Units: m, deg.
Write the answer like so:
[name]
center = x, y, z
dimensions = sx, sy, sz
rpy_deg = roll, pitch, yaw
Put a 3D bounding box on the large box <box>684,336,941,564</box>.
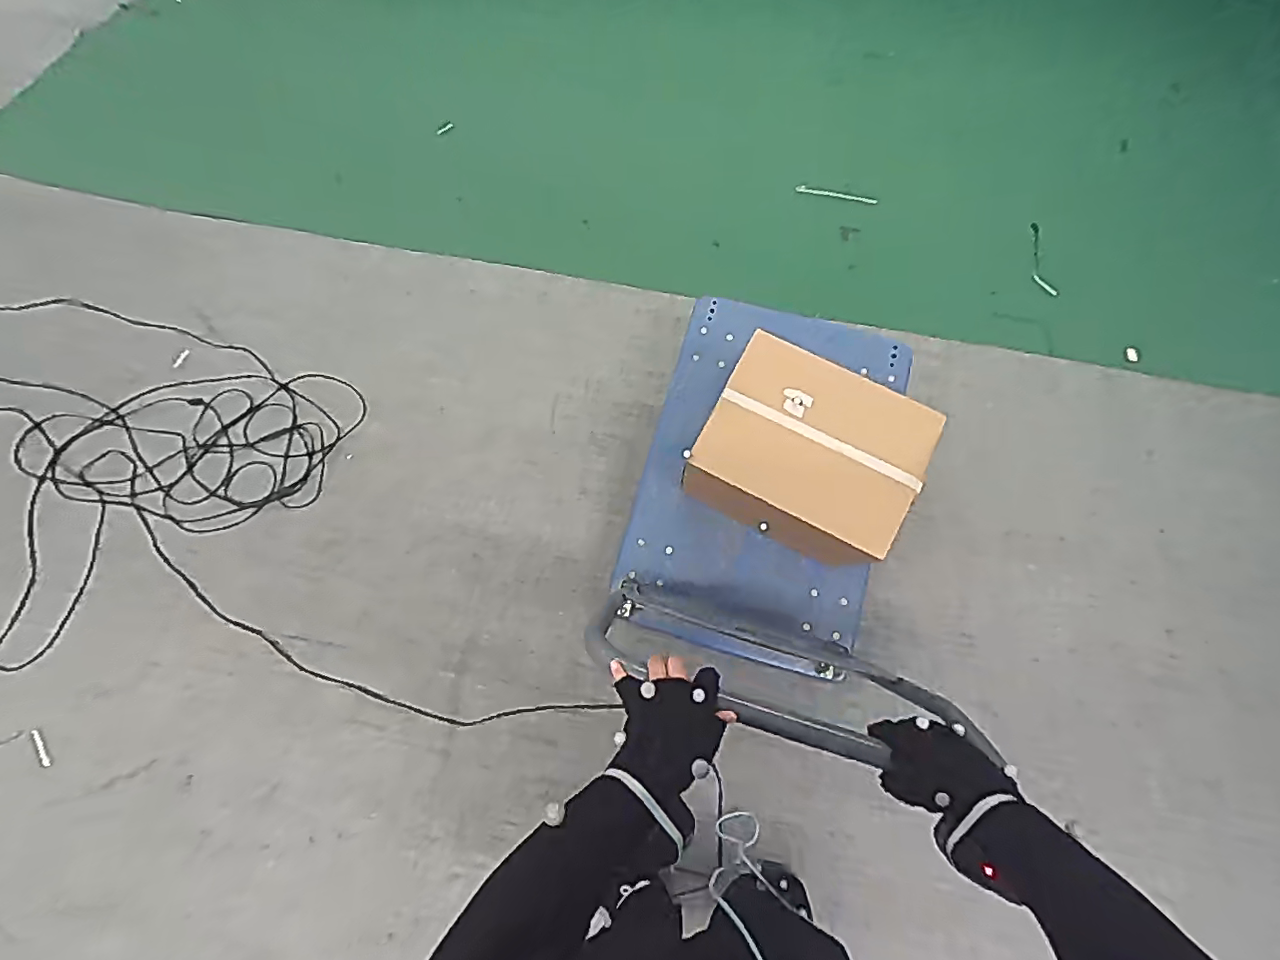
[large box]
center = 0.342, -0.043, 1.178
dimensions = 0.408, 0.320, 0.320
rpy_deg = 27, 81, 8
